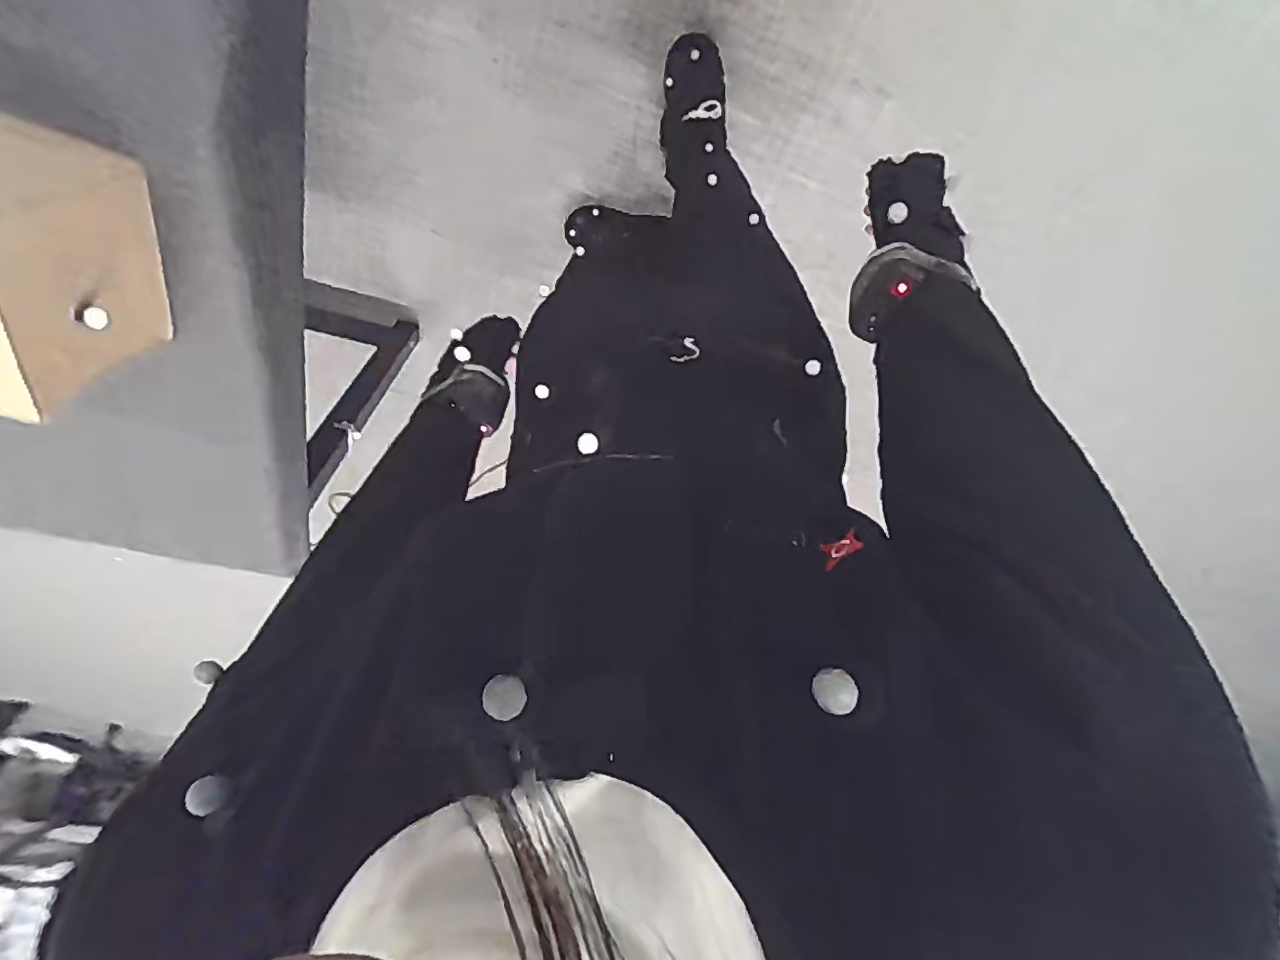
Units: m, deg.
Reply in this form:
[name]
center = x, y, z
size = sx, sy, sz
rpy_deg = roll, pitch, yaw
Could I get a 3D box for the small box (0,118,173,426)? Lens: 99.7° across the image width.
[small box]
center = -0.540, -0.181, 0.451
size = 0.168, 0.176, 0.179
rpy_deg = 17, 128, -12
